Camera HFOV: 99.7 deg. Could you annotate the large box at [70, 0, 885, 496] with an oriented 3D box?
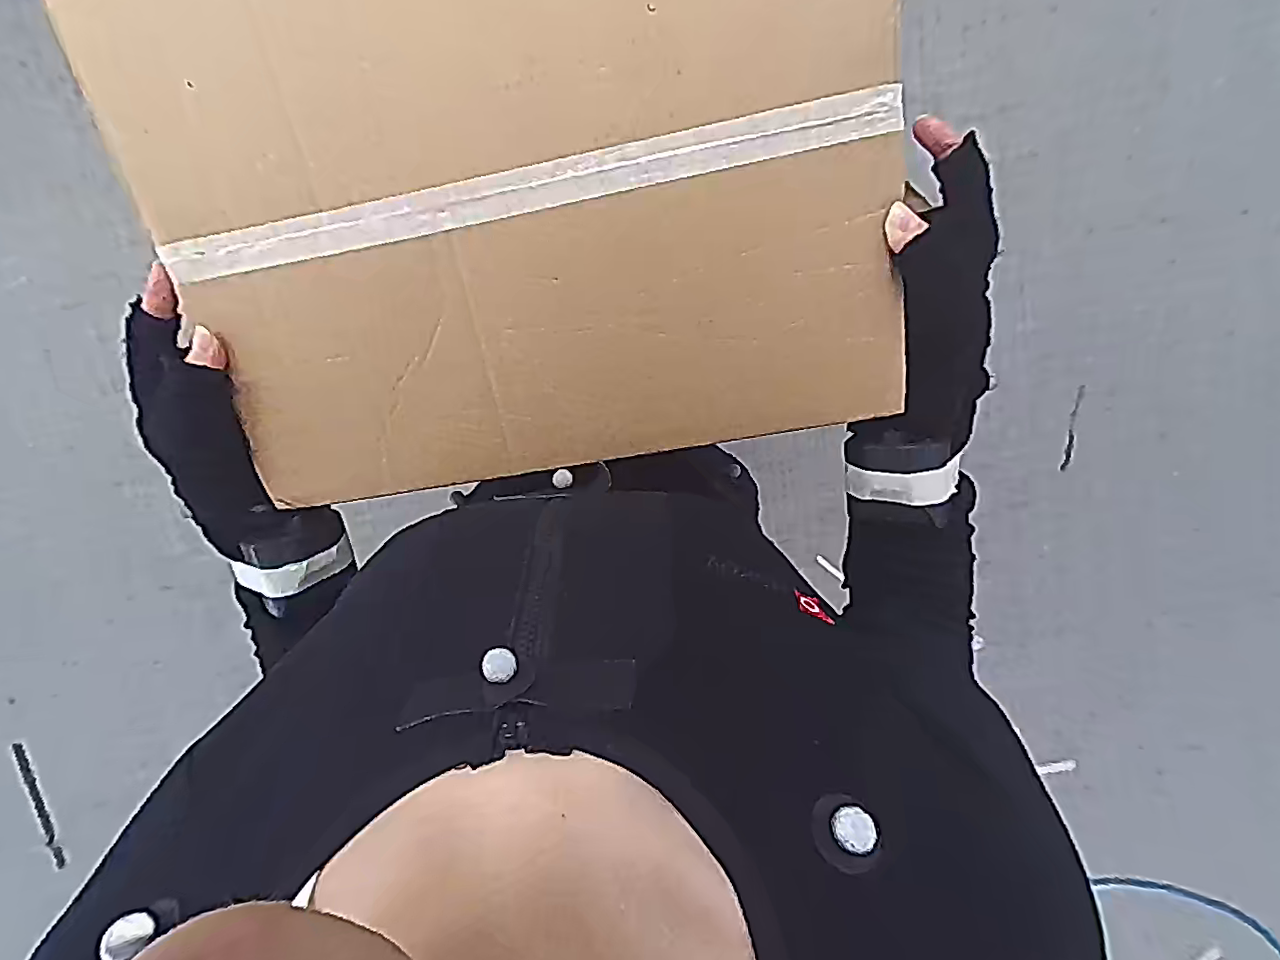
[{"bbox_3d":[-0.065,-0.215,0.437,0.408,0.320,0.320,-9,110,6],"label":"large box"}]
